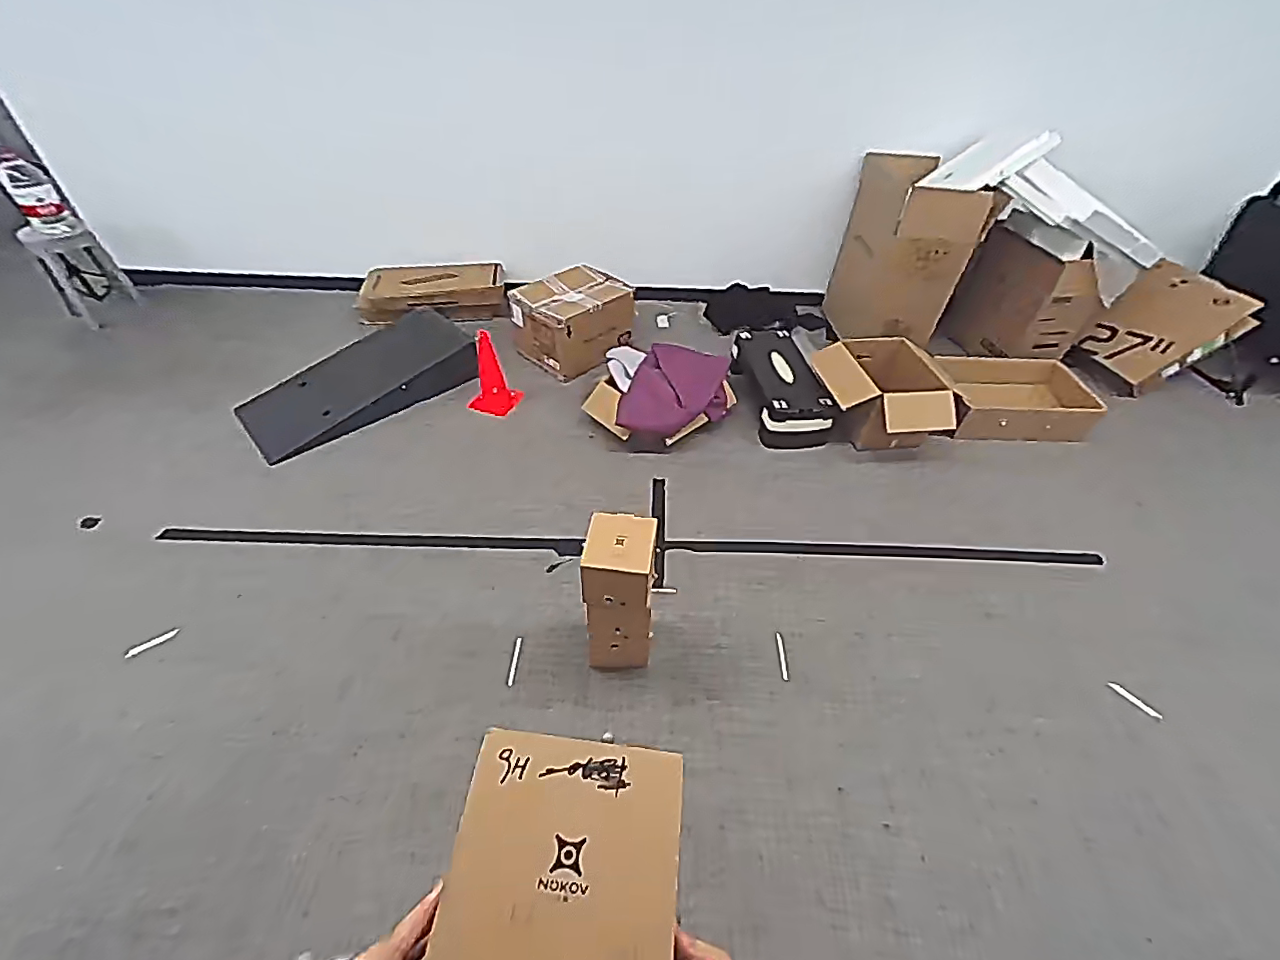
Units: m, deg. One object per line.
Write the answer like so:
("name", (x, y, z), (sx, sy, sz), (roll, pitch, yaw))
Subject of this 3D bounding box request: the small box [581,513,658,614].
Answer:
("small box", (-0.048, 0.209, 1.355), (0.168, 0.176, 0.179), (5, 45, 4))

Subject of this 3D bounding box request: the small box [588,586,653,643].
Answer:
("small box", (-0.051, 0.321, 1.474), (0.168, 0.176, 0.179), (2, 44, 0))

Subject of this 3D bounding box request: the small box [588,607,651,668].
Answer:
("small box", (-0.061, 0.440, 1.587), (0.179, 0.176, 0.168), (0, 44, -3))

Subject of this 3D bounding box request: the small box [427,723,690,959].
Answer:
("small box", (-0.055, 0.324, 0.447), (0.168, 0.176, 0.179), (8, 52, 1))
